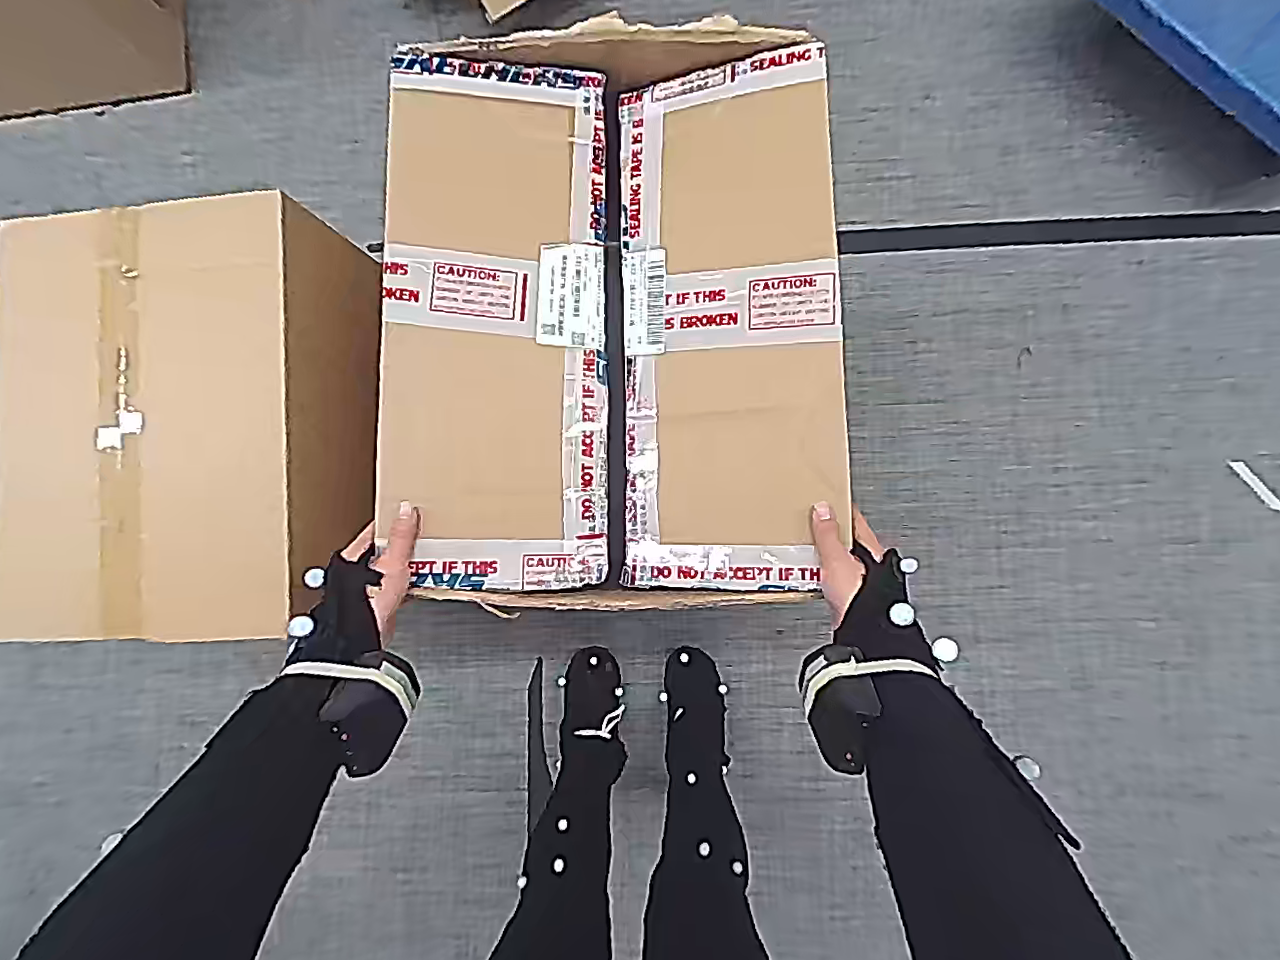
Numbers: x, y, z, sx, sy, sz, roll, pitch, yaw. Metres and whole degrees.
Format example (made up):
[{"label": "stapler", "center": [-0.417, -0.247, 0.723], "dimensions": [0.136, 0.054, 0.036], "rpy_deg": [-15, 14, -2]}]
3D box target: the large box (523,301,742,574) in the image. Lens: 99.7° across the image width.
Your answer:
[{"label": "large box", "center": [-0.011, -0.058, 0.957], "dimensions": [0.320, 0.320, 0.408], "rpy_deg": [-3, 87, 2]}]
